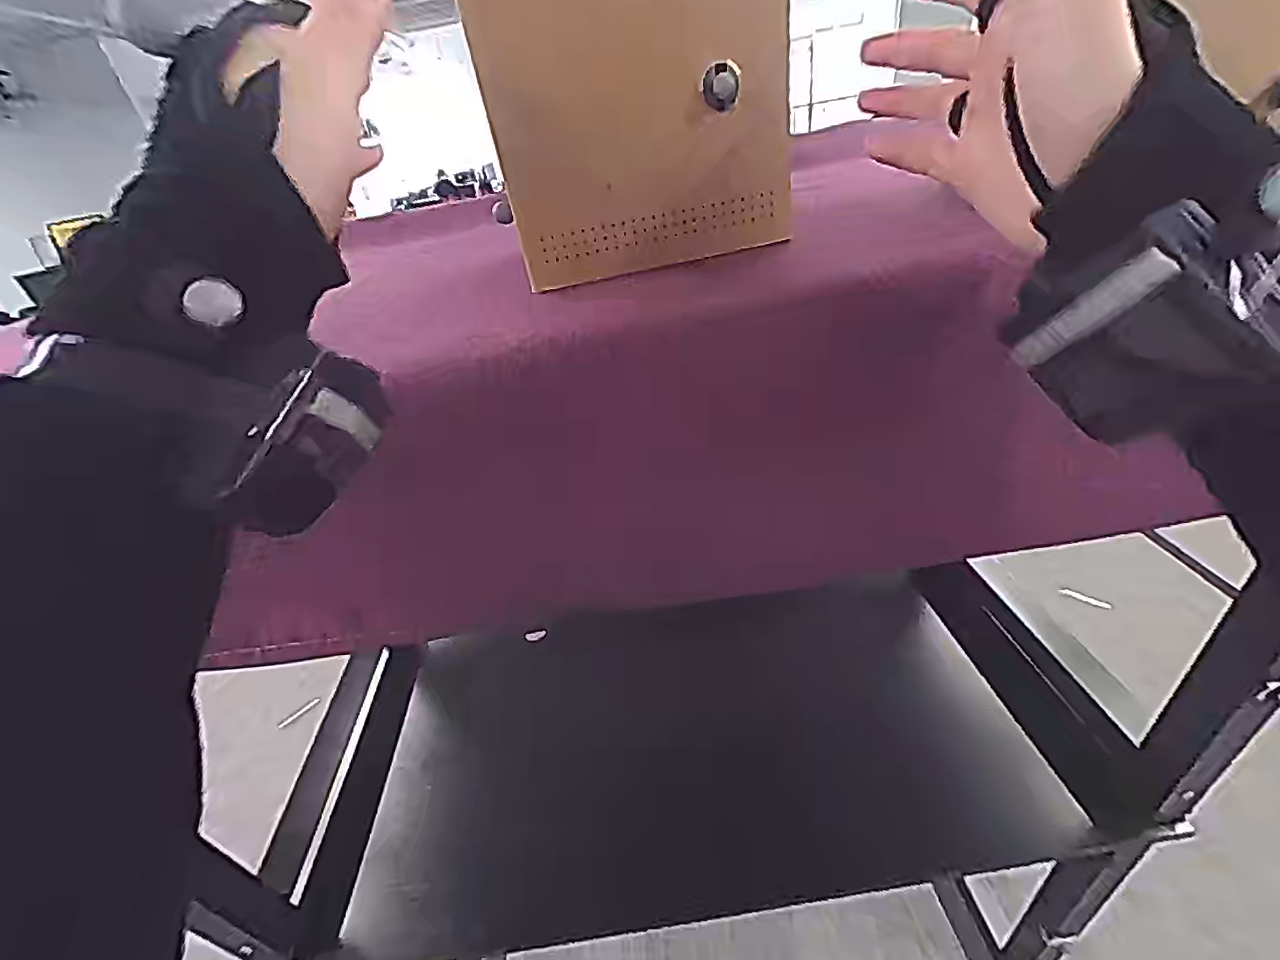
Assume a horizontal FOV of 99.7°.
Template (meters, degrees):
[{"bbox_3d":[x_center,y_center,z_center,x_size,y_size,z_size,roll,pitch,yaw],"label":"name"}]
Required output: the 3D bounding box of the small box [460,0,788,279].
[{"bbox_3d":[-0.009,-0.253,0.368,0.179,0.176,0.168,-14,33,-3],"label":"small box"}]

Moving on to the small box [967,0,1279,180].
[{"bbox_3d":[0.336,-0.296,0.326,0.179,0.176,0.168,-8,33,4],"label":"small box"}]
